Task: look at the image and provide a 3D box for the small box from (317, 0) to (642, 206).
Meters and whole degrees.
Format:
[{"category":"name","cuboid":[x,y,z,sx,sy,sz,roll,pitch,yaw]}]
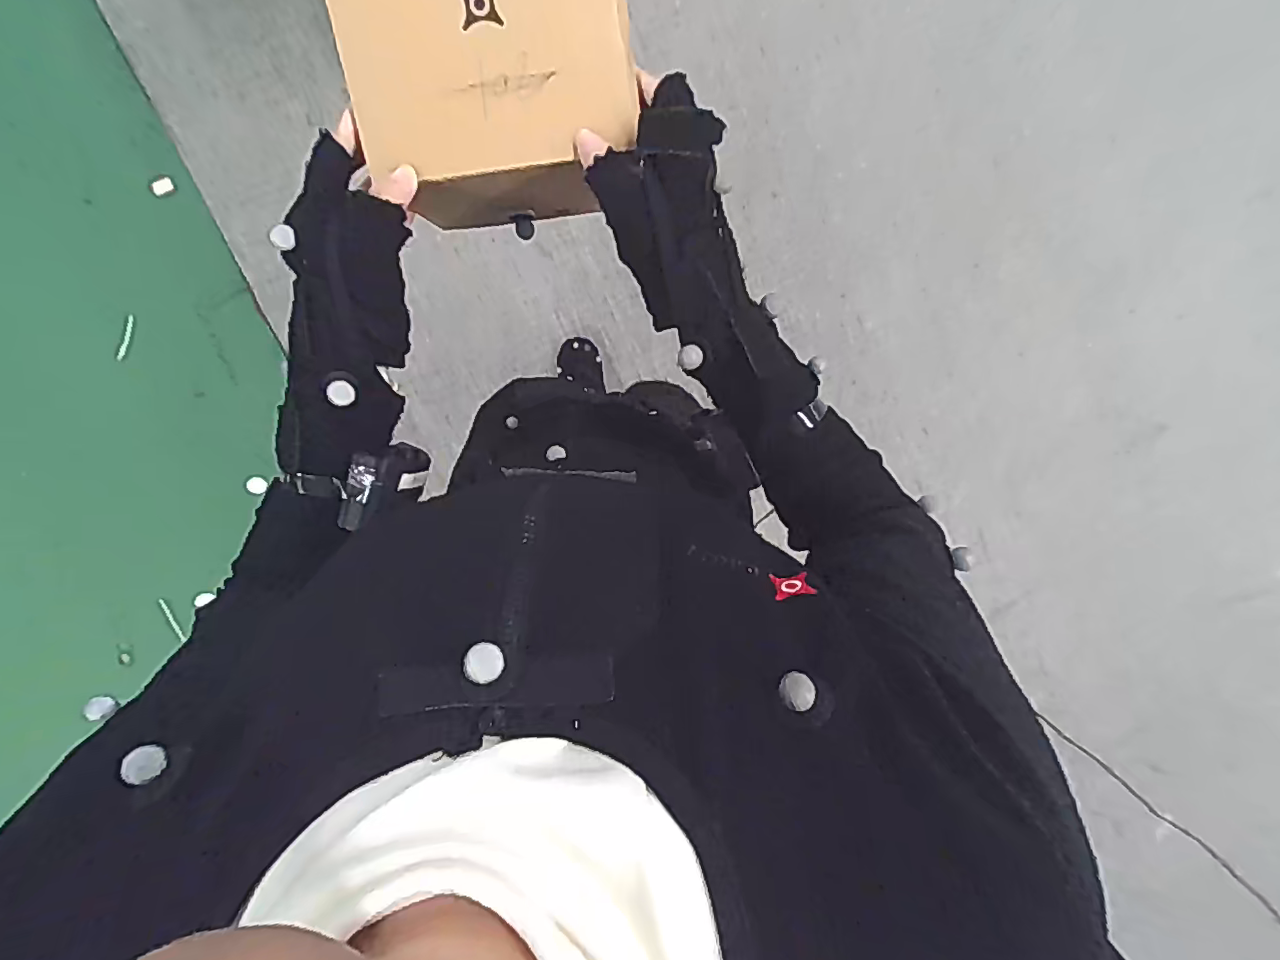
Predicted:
[{"category":"small box","cuboid":[-0.096,-0.300,0.356,0.168,0.176,0.179,-9,108,0]}]
